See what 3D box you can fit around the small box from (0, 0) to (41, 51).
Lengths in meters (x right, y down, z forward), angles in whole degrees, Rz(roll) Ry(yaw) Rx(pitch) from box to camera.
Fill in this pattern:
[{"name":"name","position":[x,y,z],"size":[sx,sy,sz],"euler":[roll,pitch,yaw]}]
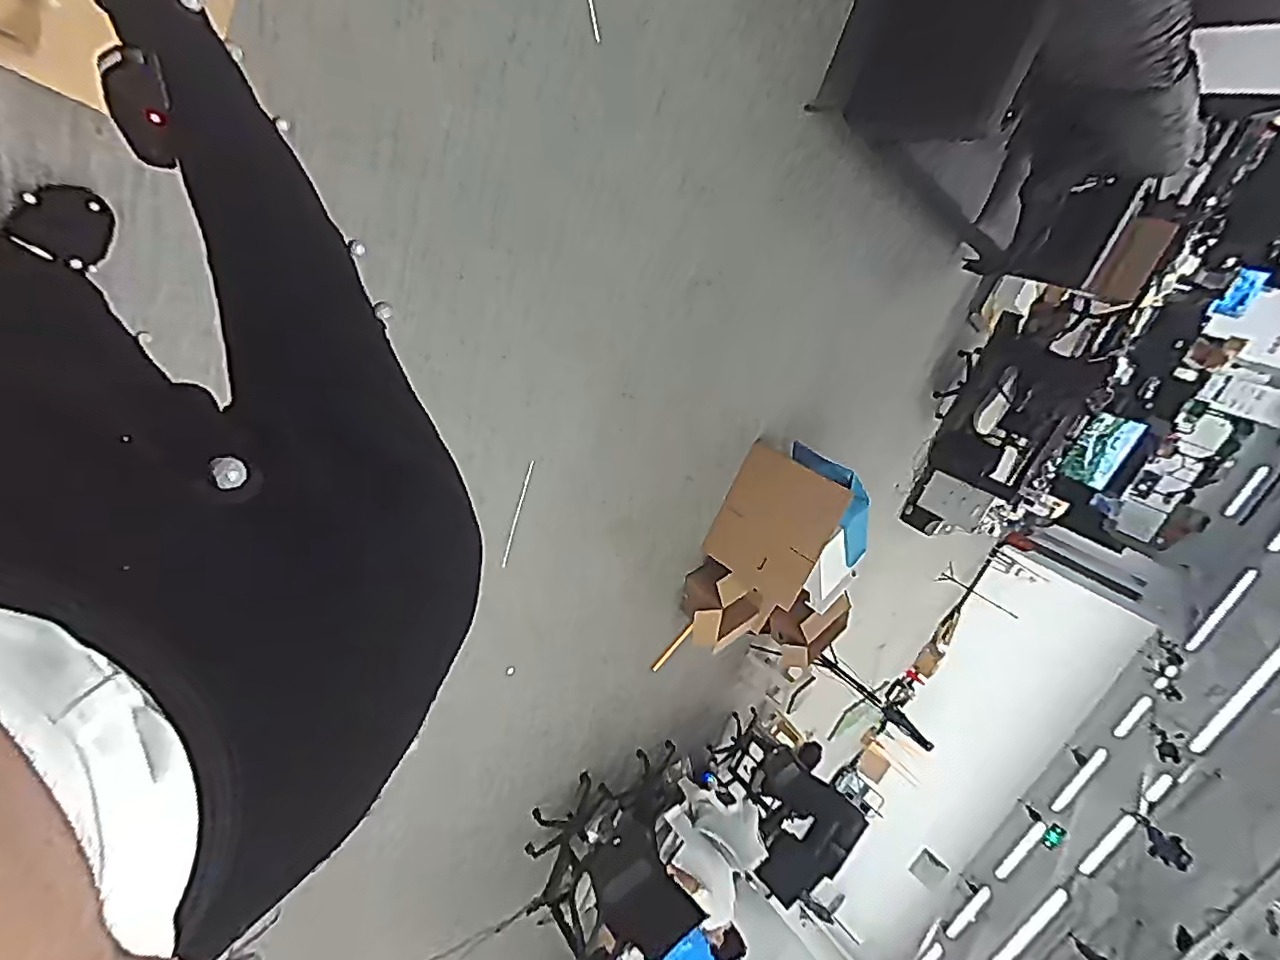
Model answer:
[{"name":"small box","position":[-0.788,-0.622,0.600],"size":[0.168,0.176,0.179],"euler":[8,113,-49]}]

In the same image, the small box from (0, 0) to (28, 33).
[{"name":"small box","position":[-0.575,-0.476,0.399],"size":[0.168,0.176,0.179],"euler":[6,112,-49]}]

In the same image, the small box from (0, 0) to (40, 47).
[{"name":"small box","position":[-0.682,-0.545,0.502],"size":[0.168,0.176,0.179],"euler":[7,111,-48]}]
